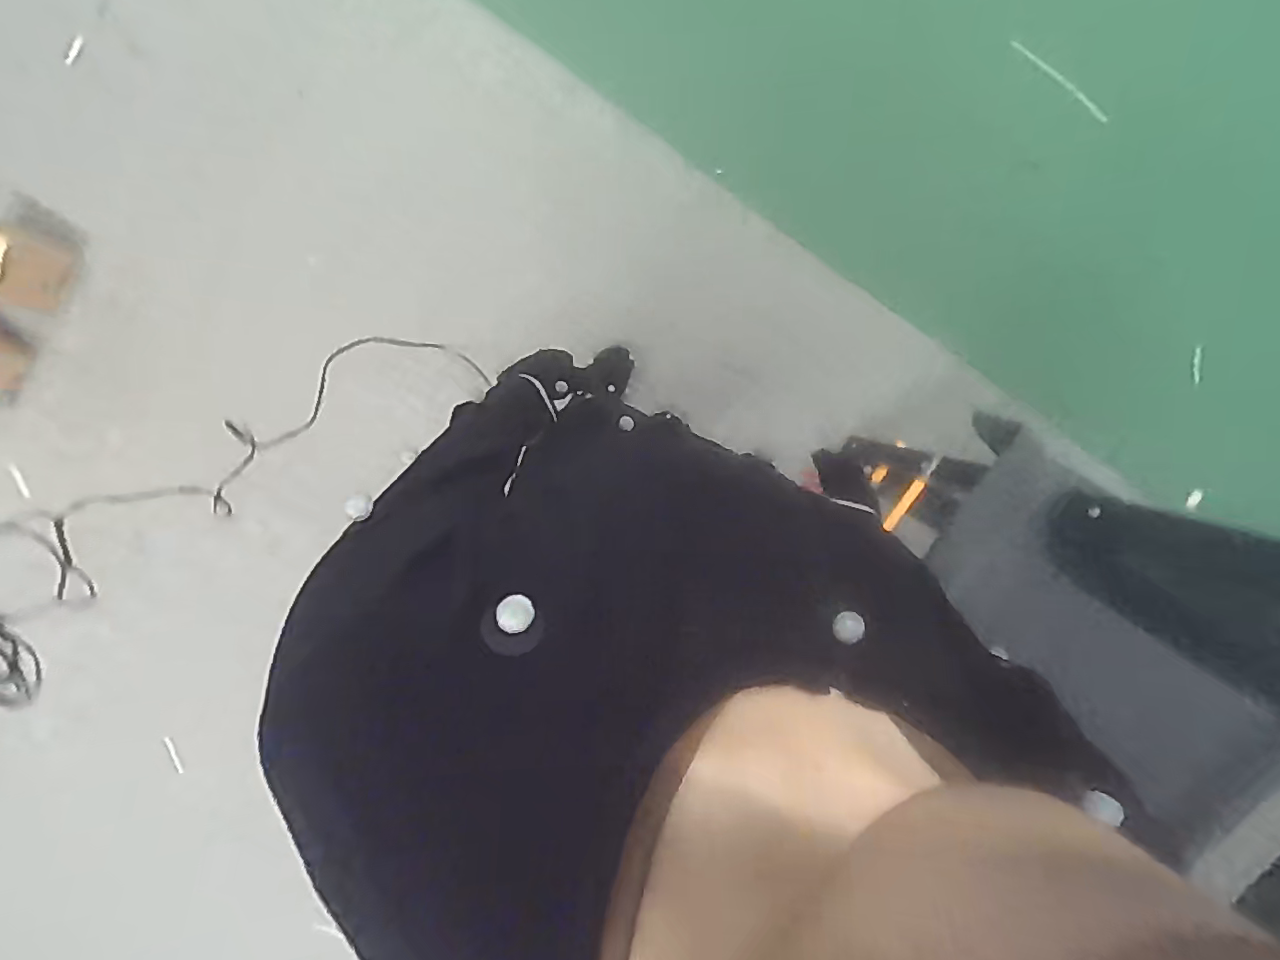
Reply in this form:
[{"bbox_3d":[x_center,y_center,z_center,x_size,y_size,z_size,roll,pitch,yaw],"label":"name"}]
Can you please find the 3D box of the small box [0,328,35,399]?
[{"bbox_3d":[-1.683,-0.304,1.332,0.179,0.176,0.168,36,98,-6],"label":"small box"}]
